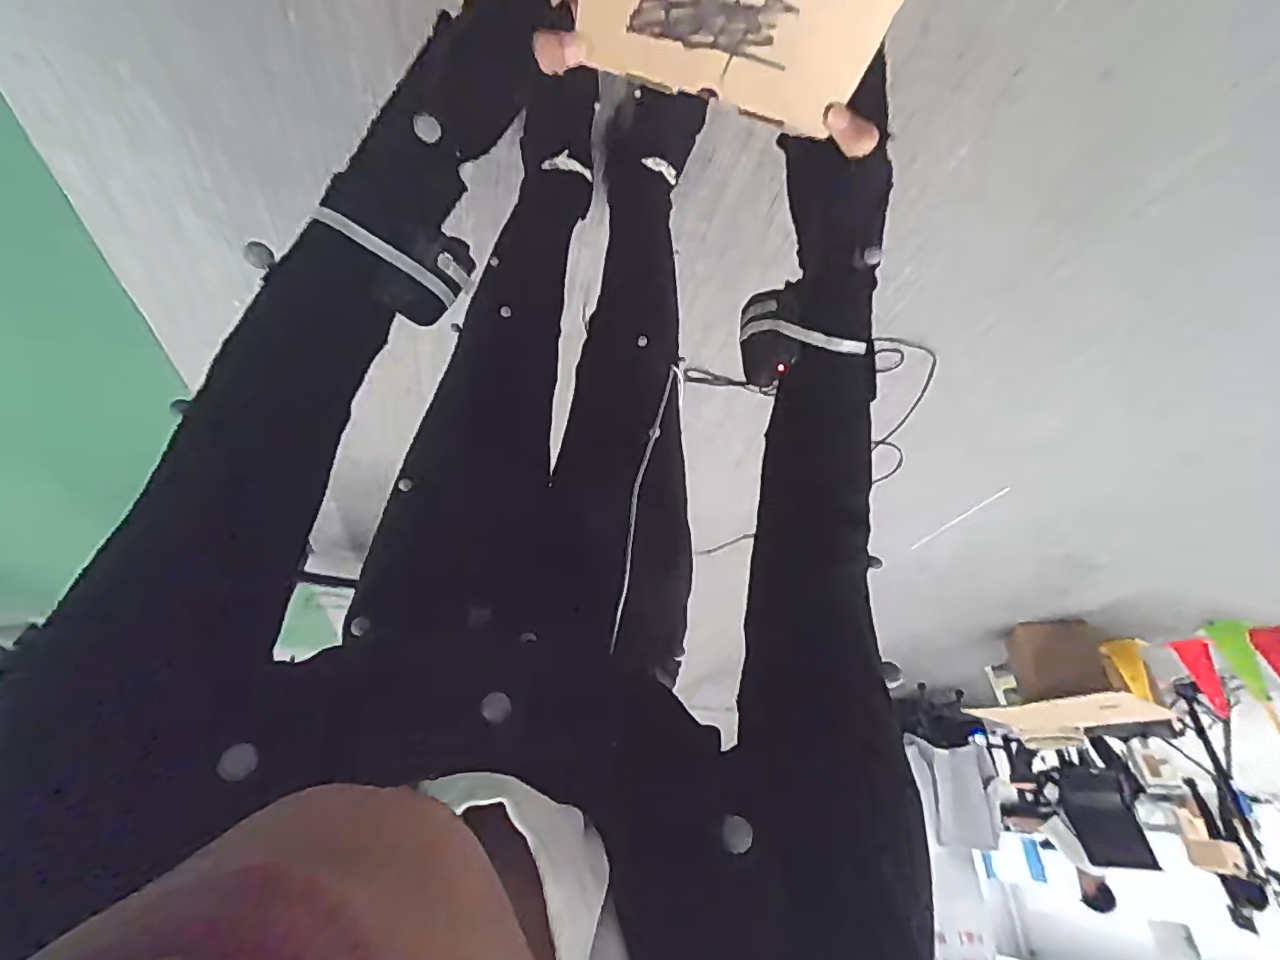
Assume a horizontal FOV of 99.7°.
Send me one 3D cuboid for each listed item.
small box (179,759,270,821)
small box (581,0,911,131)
[{"bbox_3d":[-1.387,1.042,1.822,0.168,0.176,0.179,11,146,-12],"label":"small box"},{"bbox_3d":[0.070,-0.340,0.287,0.168,0.176,0.179,8,151,-13],"label":"small box"}]
